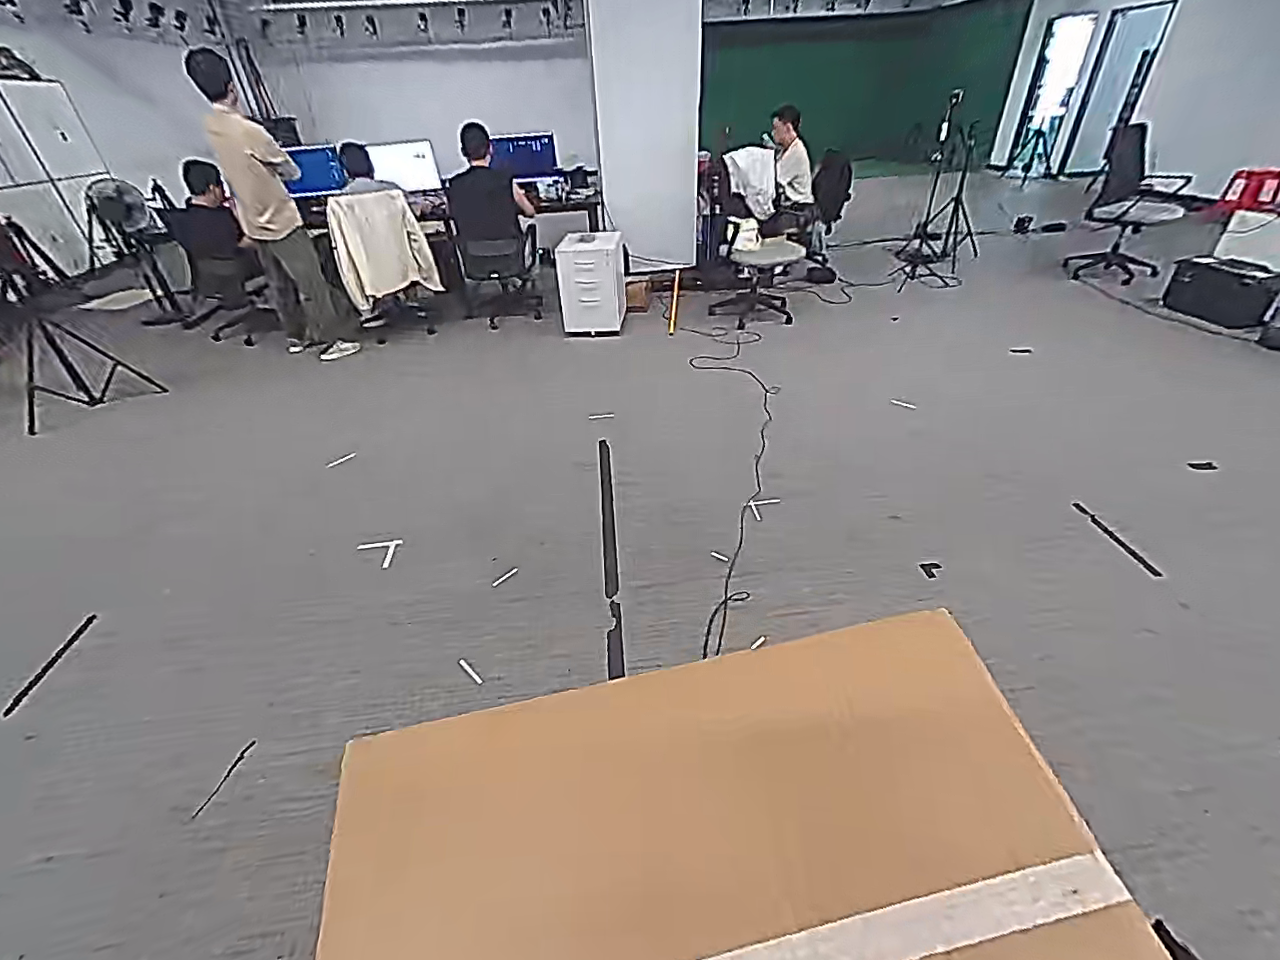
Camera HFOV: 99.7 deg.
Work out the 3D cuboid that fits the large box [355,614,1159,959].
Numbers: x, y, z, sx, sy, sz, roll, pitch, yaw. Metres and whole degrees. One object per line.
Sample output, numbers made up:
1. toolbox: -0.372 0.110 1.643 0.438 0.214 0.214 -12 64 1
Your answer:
1. large box: 0.060 0.343 0.384 0.408 0.320 0.320 -11 51 -5
